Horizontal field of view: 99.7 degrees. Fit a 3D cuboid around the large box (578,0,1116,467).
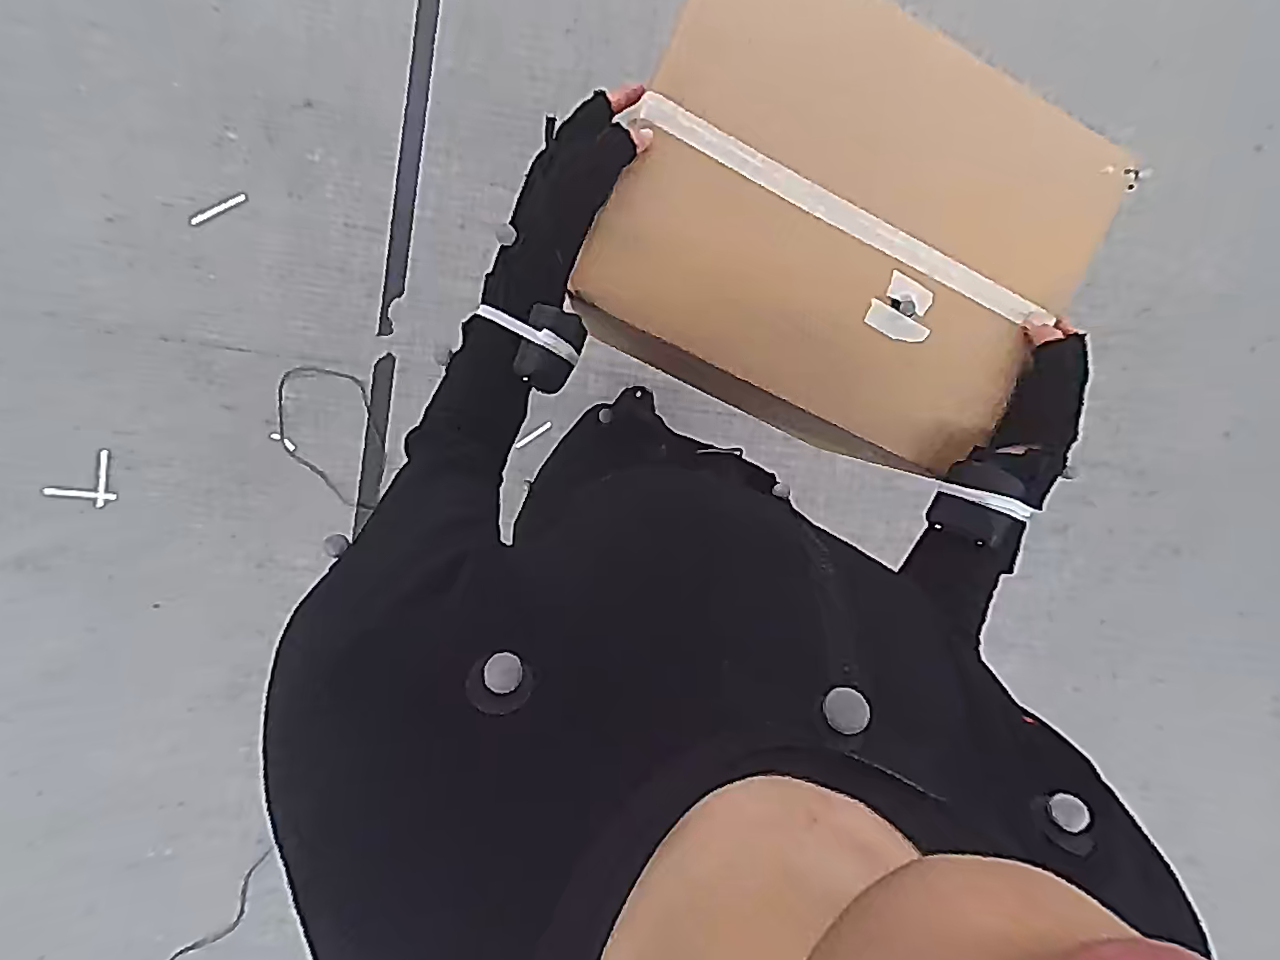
[{"bbox_3d":[0.170,-0.250,0.614,0.408,0.320,0.320,24,98,-9],"label":"large box"}]
